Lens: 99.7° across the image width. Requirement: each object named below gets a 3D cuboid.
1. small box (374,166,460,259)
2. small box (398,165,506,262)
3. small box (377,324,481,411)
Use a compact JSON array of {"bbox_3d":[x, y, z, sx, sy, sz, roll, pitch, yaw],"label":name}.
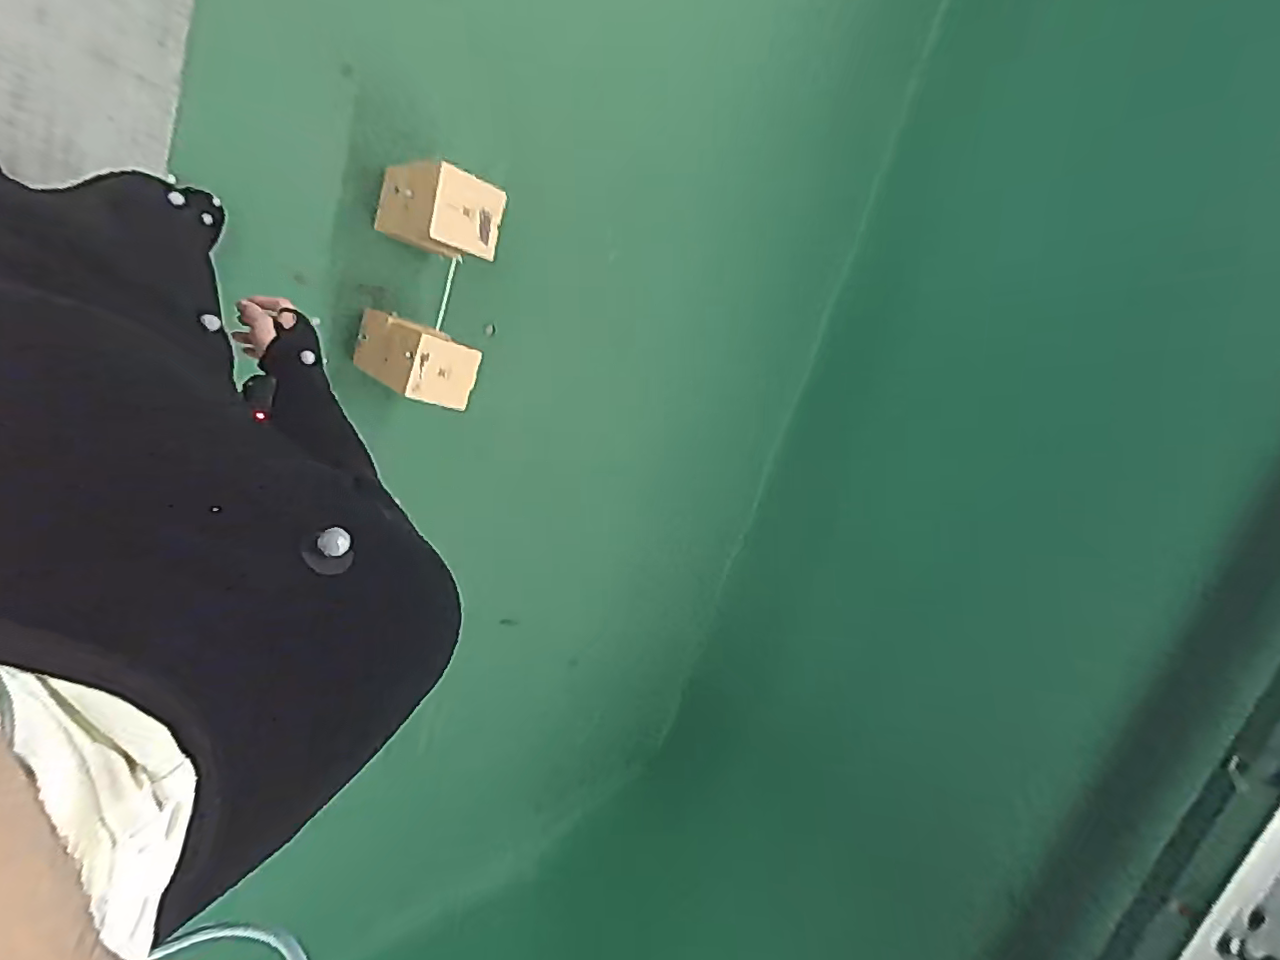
[{"bbox_3d":[-0.581,-0.710,1.446,0.179,0.176,0.168,6,106,-51],"label":"small box"},{"bbox_3d":[-0.467,-0.659,1.338,0.179,0.176,0.168,2,109,-49],"label":"small box"},{"bbox_3d":[-0.563,-0.300,1.437,0.179,0.176,0.168,11,103,-51],"label":"small box"}]
